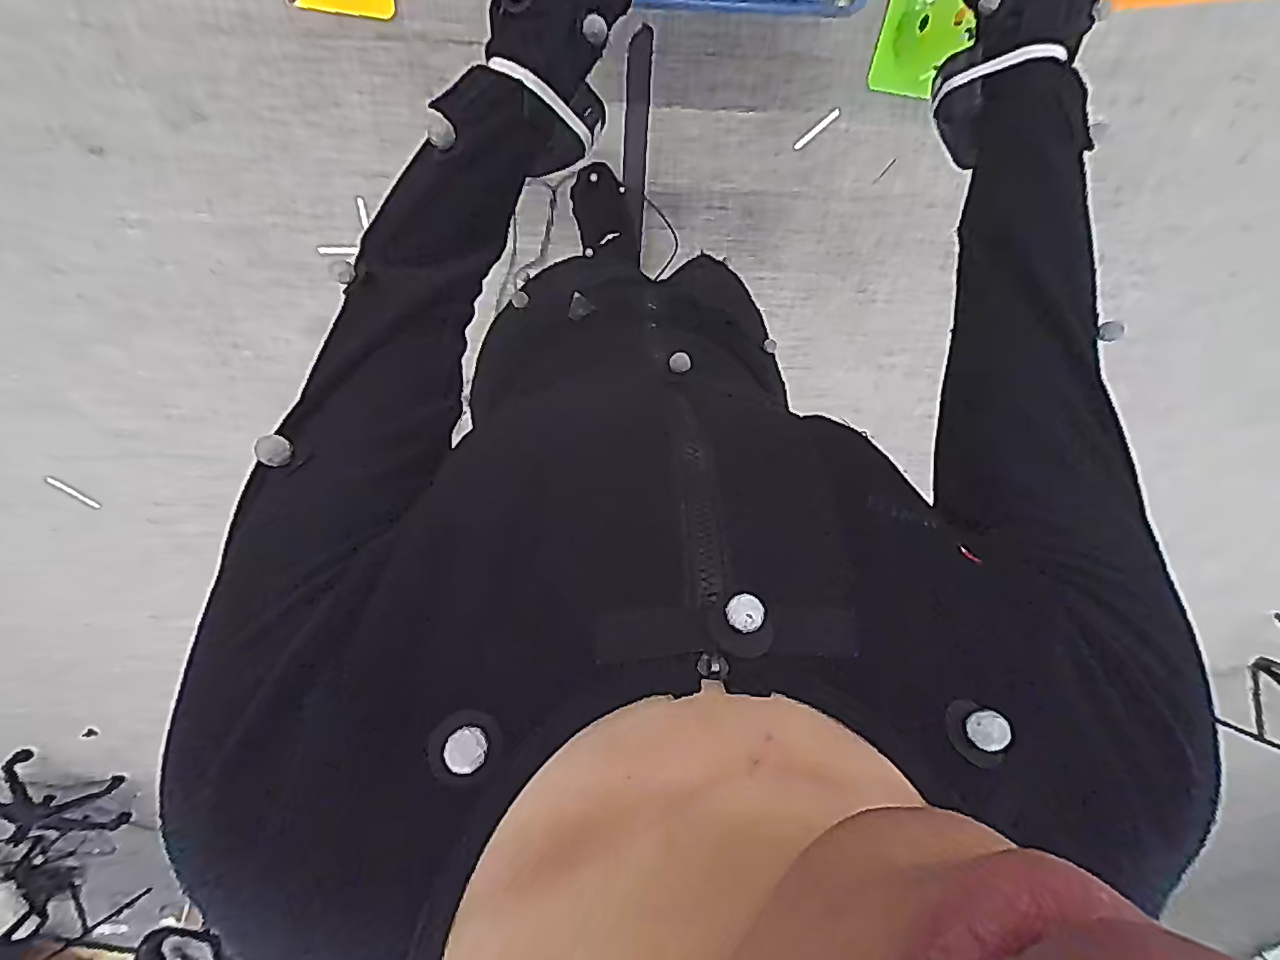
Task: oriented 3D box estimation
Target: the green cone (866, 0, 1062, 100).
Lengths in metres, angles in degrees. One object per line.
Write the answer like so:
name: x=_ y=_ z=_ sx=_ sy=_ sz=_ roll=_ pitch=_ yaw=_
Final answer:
green cone: x=0.582 y=-0.793 z=0.939 sx=0.202 sy=0.368 sz=0.200 roll=3 pitch=124 yaw=-7
